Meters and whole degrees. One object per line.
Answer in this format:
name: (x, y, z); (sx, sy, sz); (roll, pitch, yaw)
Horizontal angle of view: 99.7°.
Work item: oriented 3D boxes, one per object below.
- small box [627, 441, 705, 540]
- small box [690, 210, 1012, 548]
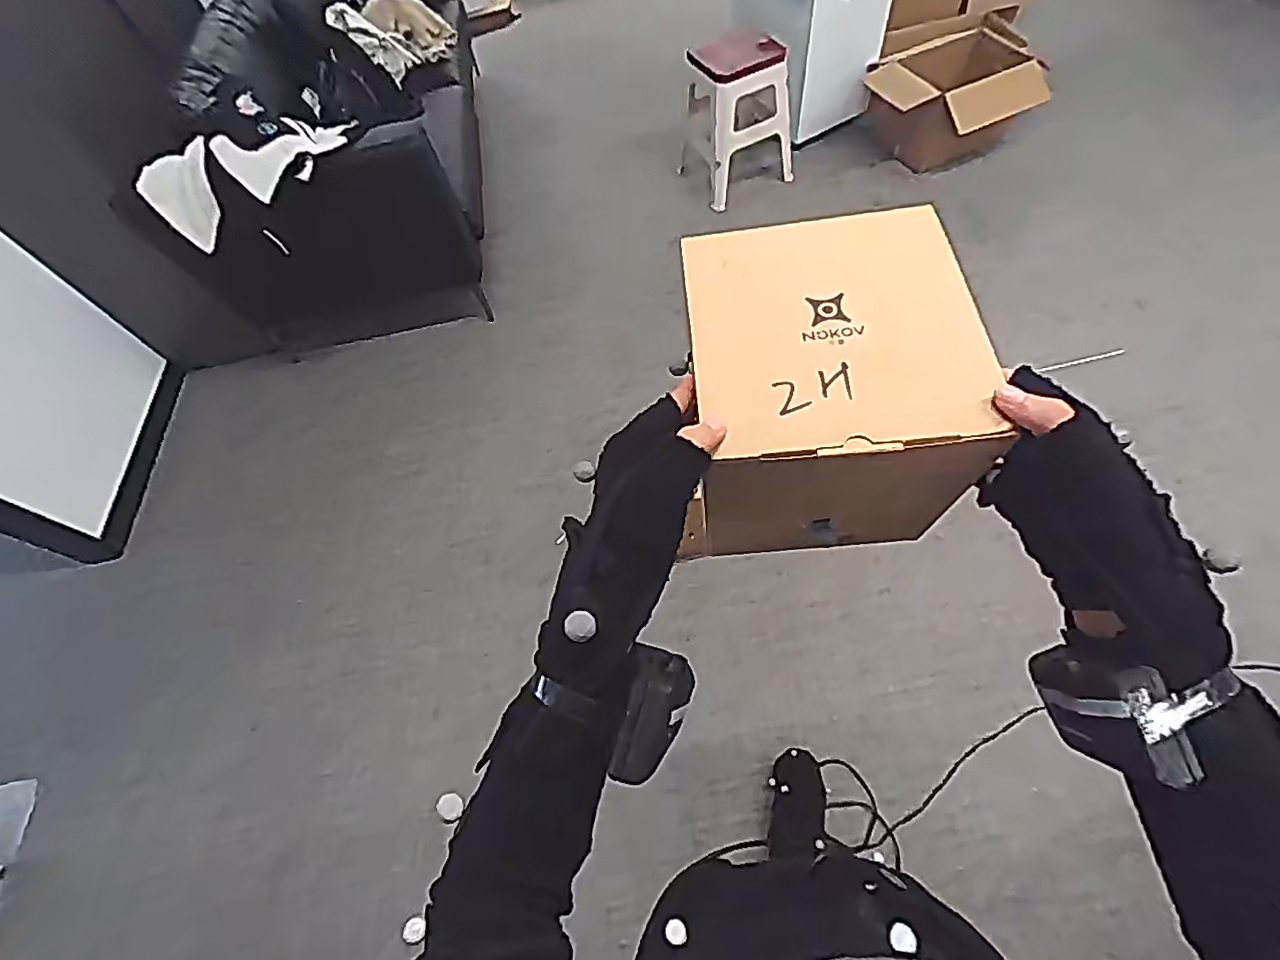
small box: (0.066, 0.029, 1.368); (0.168, 0.176, 0.179); (-12, 58, 2)
small box: (0.125, -0.062, 0.401); (0.168, 0.176, 0.179); (-5, 64, 6)
